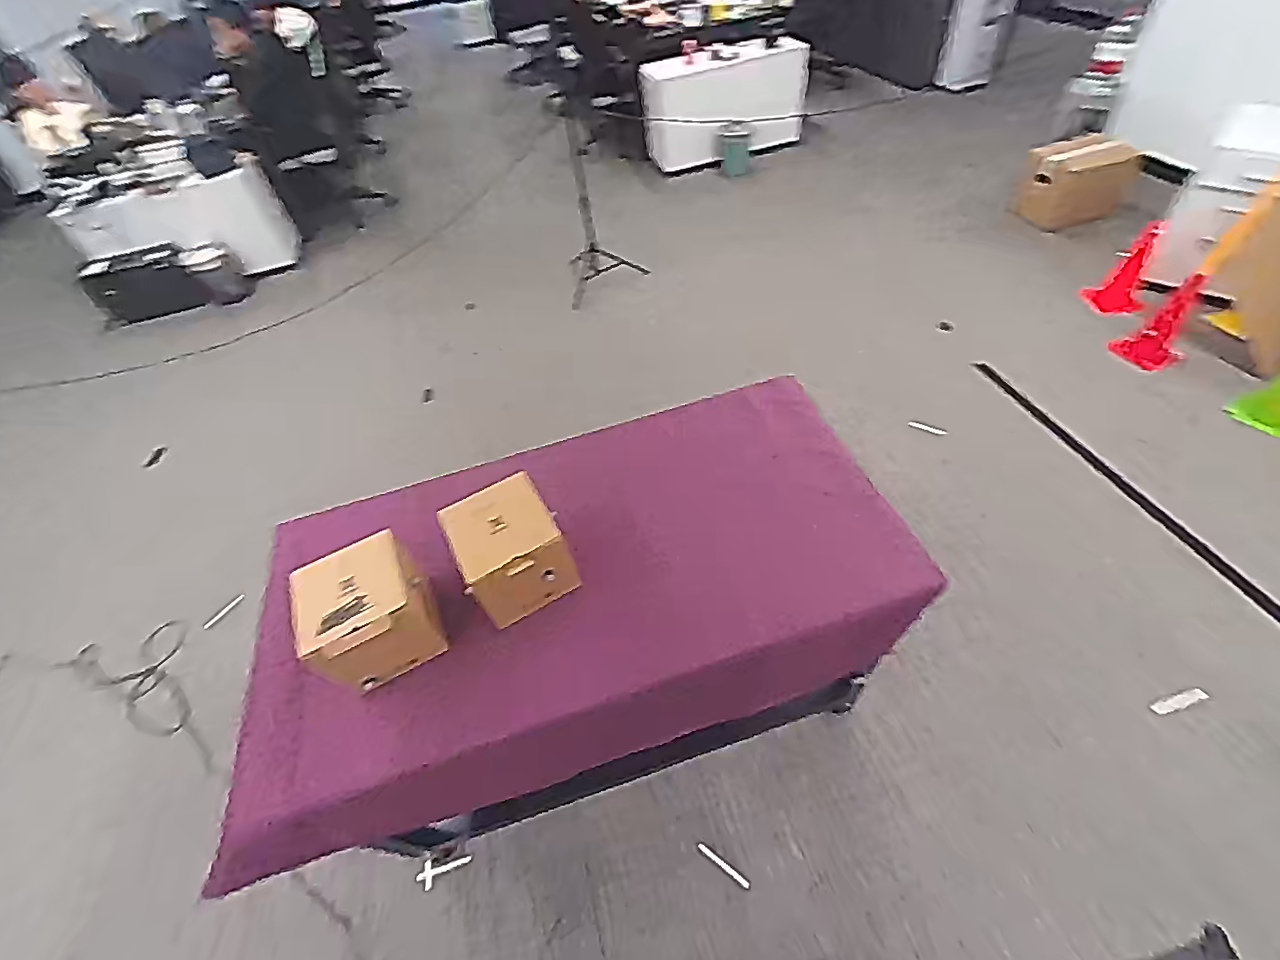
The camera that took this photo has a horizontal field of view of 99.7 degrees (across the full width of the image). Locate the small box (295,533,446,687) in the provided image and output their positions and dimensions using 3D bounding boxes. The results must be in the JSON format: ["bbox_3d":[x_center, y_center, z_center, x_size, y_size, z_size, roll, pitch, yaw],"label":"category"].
[{"bbox_3d":[-0.456,0.230,0.928,0.168,0.176,0.179,-26,50,-14],"label":"small box"}]

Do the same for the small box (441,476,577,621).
[{"bbox_3d":[-0.231,0.131,0.981,0.168,0.176,0.179,-27,51,-15],"label":"small box"}]
